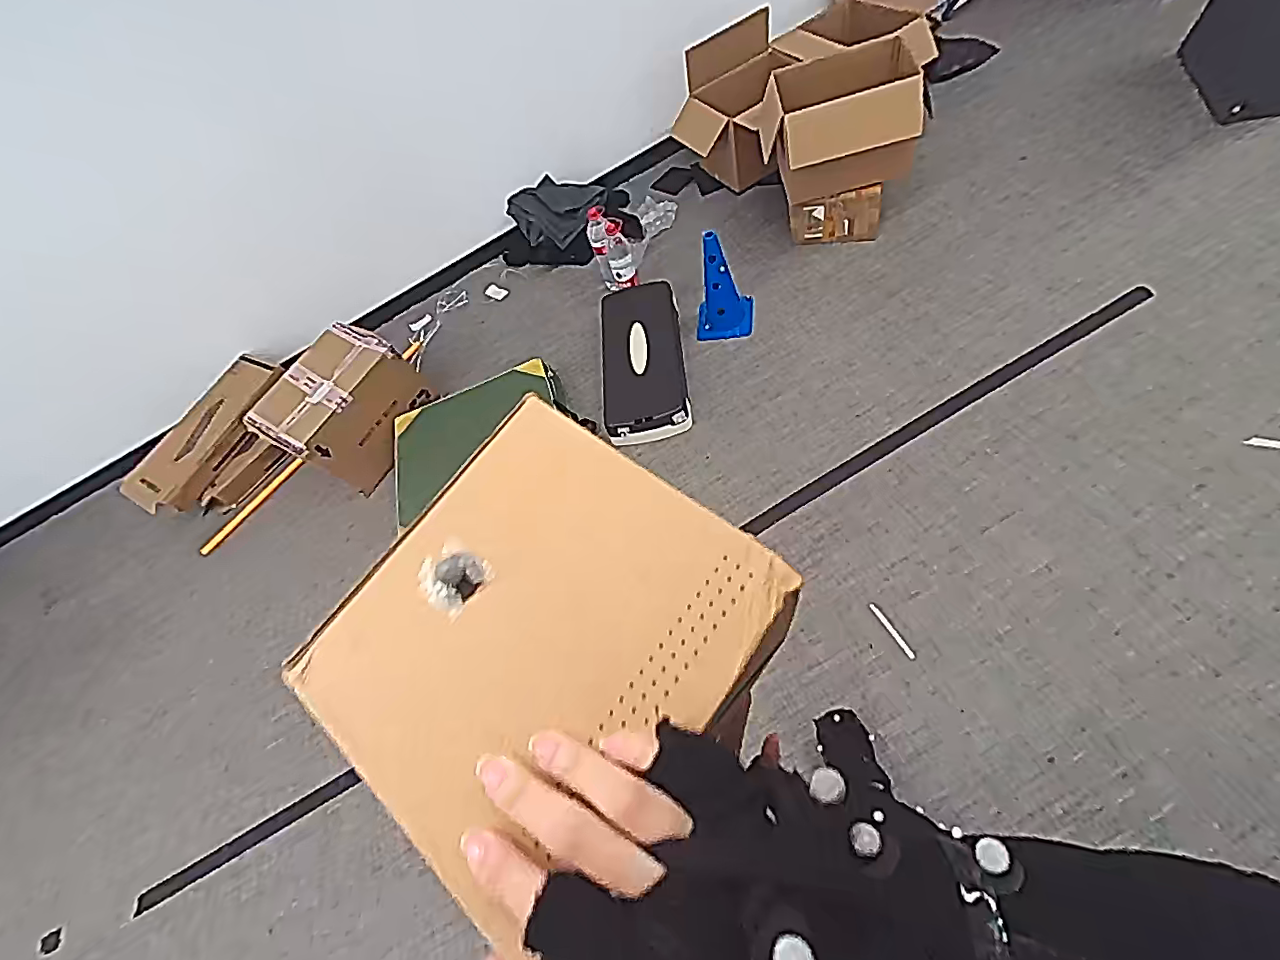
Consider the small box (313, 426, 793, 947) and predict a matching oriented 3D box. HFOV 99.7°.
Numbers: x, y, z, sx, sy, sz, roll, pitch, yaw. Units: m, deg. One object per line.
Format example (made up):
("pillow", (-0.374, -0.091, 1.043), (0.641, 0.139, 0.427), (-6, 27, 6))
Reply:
("small box", (-0.030, 0.106, 0.317), (0.176, 0.168, 0.179), (34, 78, 22))
